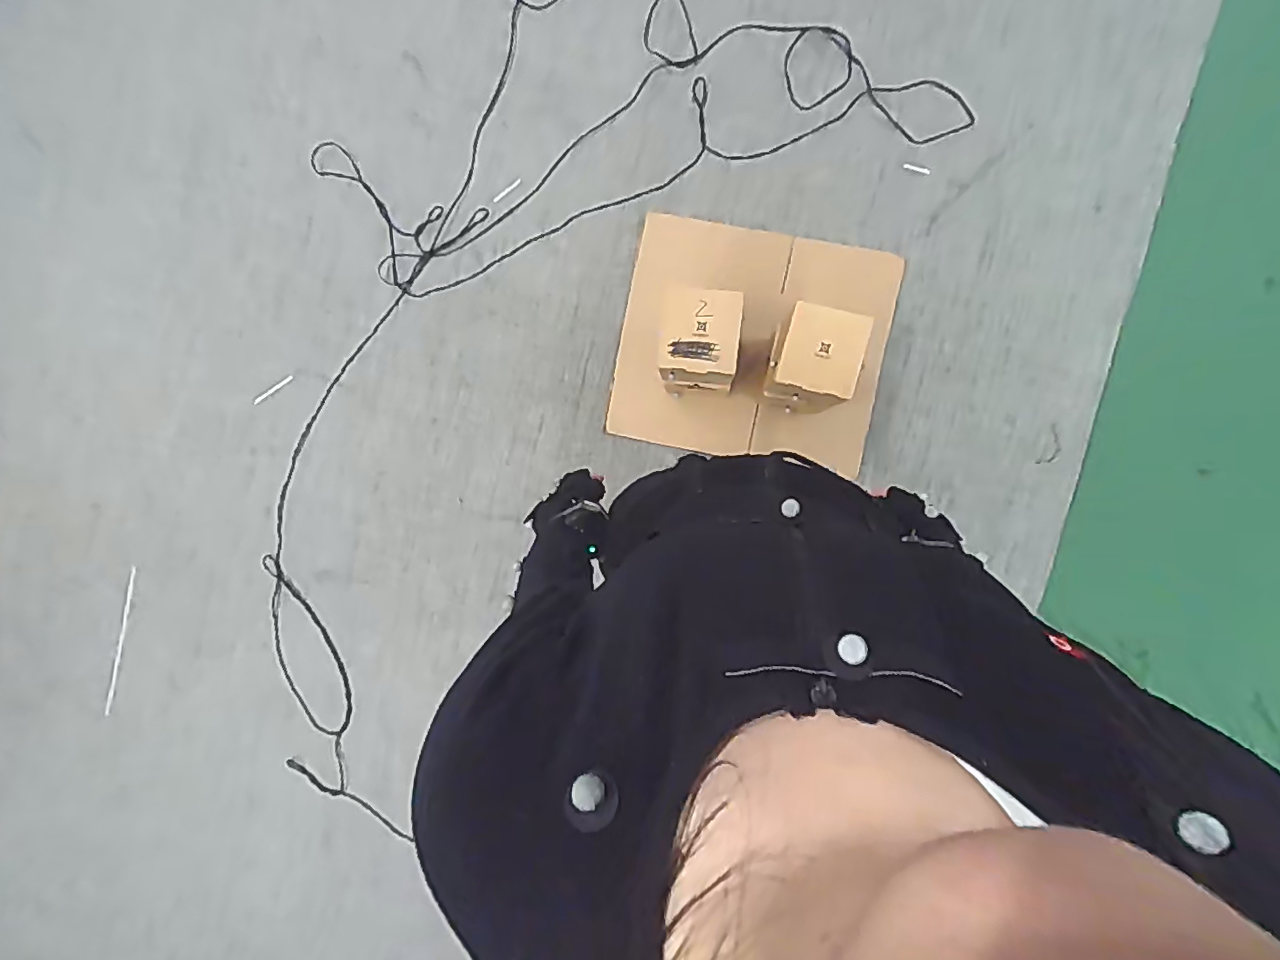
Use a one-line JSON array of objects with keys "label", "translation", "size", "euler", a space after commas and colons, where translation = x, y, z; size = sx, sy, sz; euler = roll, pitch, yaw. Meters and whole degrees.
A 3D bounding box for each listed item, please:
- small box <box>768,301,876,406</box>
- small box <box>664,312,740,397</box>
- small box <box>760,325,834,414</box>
[{"label": "small box", "translation": [0.391, -0.271, 1.194], "size": [0.168, 0.176, 0.179], "euler": [15, 94, 5]}, {"label": "small box", "translation": [0.156, -0.312, 1.374], "size": [0.168, 0.176, 0.179], "euler": [8, 93, 5]}, {"label": "small box", "translation": [0.404, -0.271, 1.357], "size": [0.168, 0.176, 0.179], "euler": [12, 94, 6]}]
